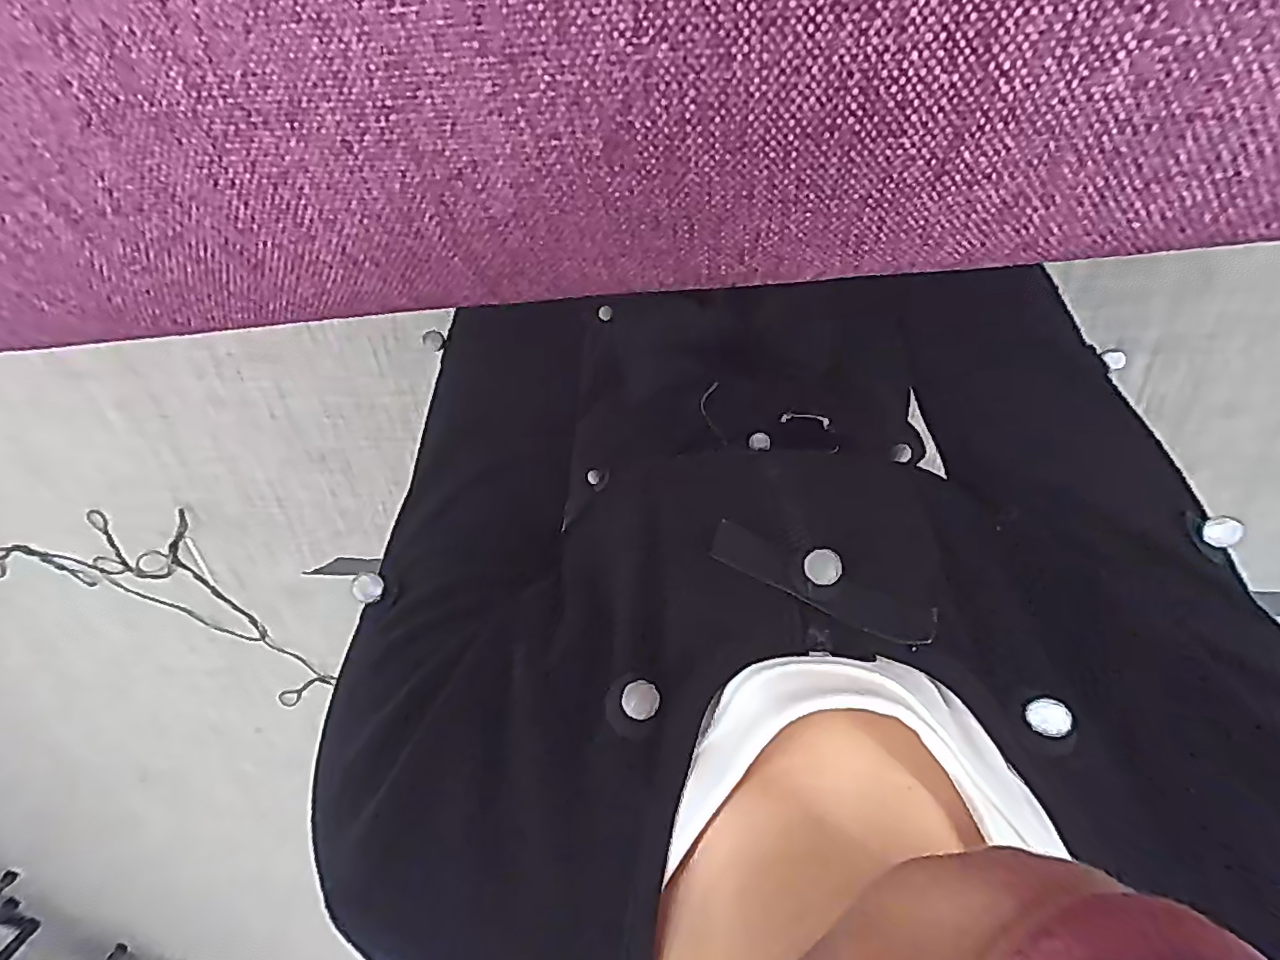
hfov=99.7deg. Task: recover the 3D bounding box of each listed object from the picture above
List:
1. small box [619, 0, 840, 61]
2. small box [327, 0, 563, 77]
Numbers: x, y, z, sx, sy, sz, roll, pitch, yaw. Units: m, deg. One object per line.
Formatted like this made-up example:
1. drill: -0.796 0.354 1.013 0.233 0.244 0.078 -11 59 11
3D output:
1. small box: 0.074 -0.473 0.454 0.179 0.176 0.168 -1 120 7
2. small box: -0.179 -0.492 0.499 0.179 0.176 0.168 -1 120 11
